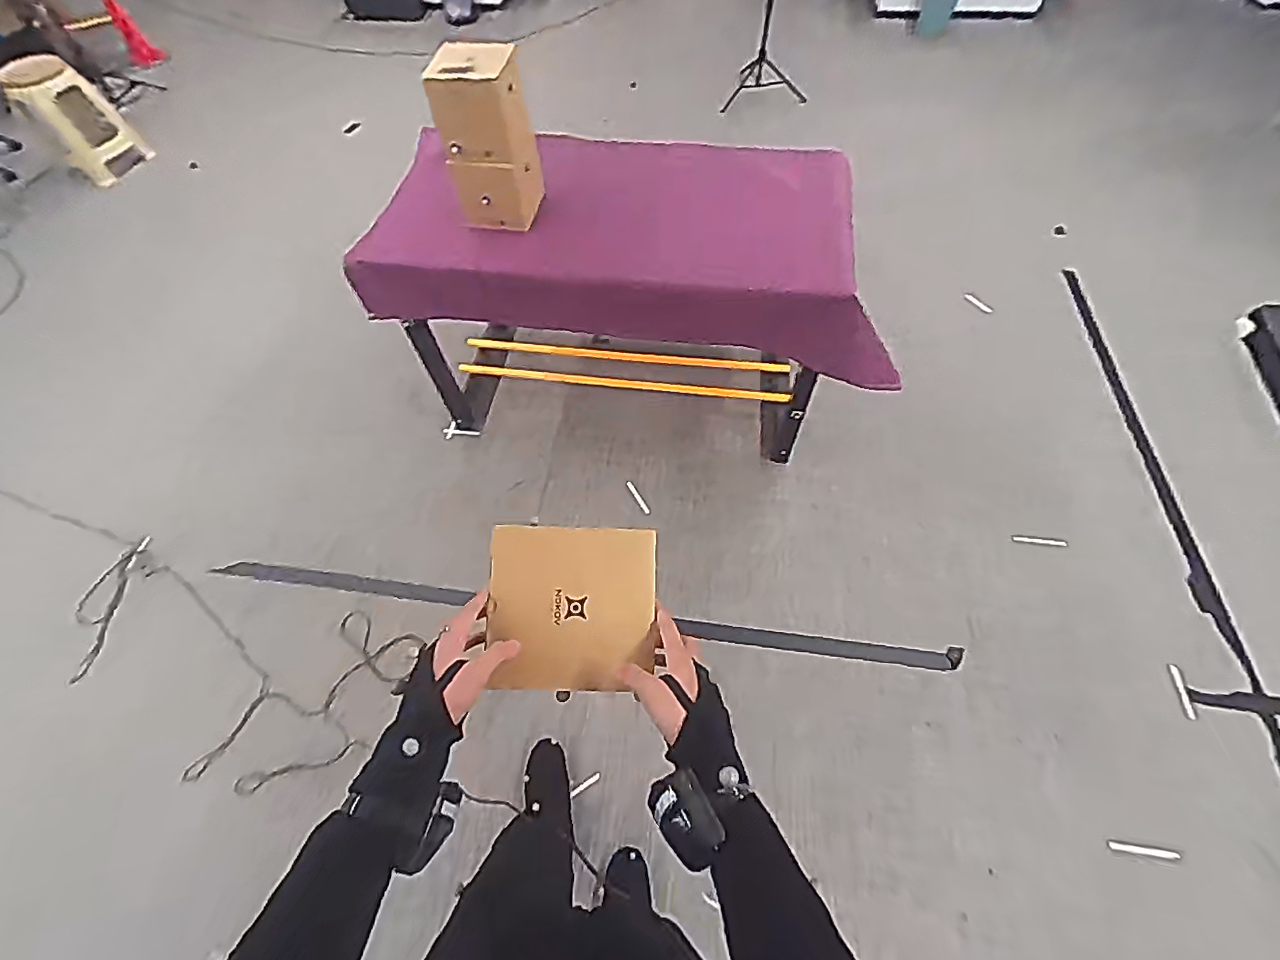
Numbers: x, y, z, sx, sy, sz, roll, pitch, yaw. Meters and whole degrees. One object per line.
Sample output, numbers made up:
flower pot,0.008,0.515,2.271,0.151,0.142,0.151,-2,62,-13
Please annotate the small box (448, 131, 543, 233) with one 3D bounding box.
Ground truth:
small box,-0.354,-0.751,1.361,0.168,0.176,0.179,9,59,6

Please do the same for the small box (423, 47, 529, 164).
small box,-0.359,-0.846,1.227,0.168,0.176,0.179,5,59,4

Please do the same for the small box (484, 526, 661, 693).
small box,-0.069,0.146,0.636,0.179,0.176,0.168,2,79,-1
